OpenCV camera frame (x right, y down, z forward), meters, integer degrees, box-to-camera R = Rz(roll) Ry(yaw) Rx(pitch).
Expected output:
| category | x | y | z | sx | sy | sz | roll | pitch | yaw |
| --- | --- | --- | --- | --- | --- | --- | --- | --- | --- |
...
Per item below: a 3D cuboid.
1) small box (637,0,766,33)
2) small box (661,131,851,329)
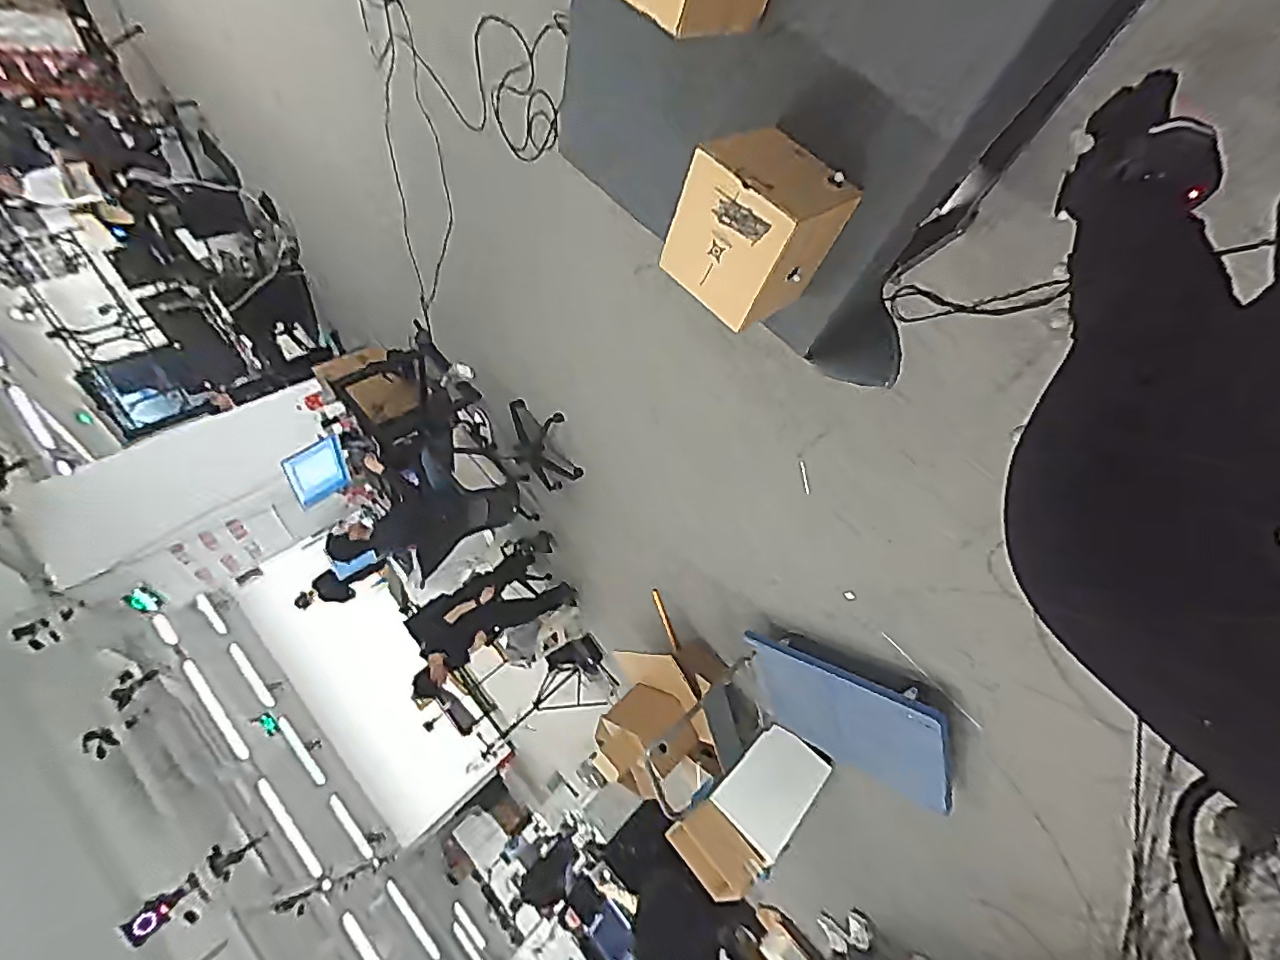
| category | x | y | z | sx | sy | sz | roll | pitch | yaw |
| --- | --- | --- | --- | --- | --- | --- | --- | --- | --- |
| small box | 0.068 | -0.647 | 0.603 | 0.168 | 0.176 | 0.179 | 46 | 146 | 11 |
| small box | 0.163 | -0.351 | 0.754 | 0.168 | 0.176 | 0.179 | 46 | 147 | 14 |
